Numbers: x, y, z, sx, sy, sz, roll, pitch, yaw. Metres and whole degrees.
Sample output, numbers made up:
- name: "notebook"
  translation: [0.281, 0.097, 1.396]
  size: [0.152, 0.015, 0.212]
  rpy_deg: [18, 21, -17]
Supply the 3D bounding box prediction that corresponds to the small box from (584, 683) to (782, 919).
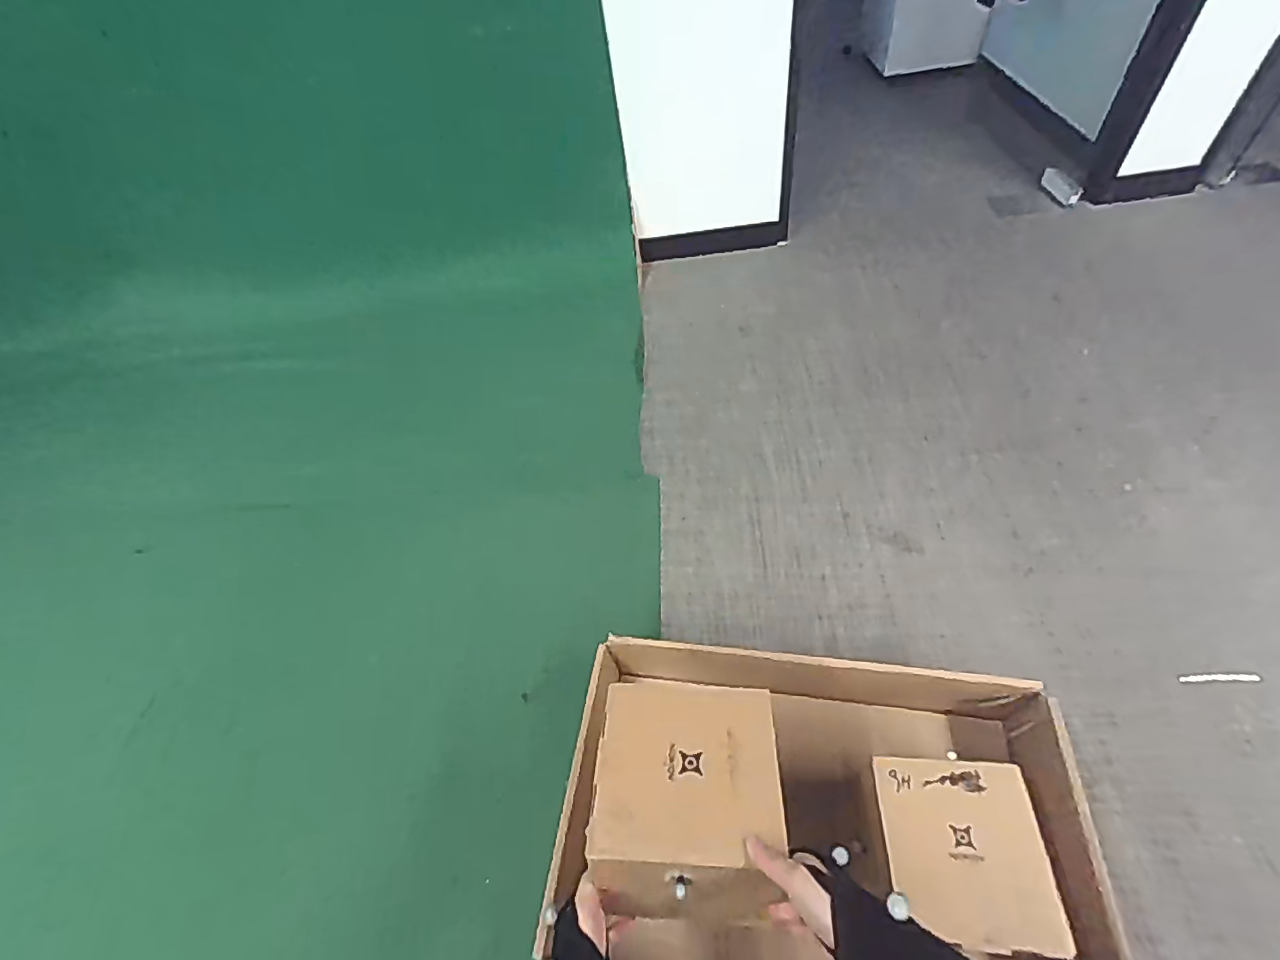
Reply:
- name: "small box"
  translation: [0.050, 0.338, 0.576]
  size: [0.179, 0.176, 0.168]
  rpy_deg: [-1, 38, 7]
